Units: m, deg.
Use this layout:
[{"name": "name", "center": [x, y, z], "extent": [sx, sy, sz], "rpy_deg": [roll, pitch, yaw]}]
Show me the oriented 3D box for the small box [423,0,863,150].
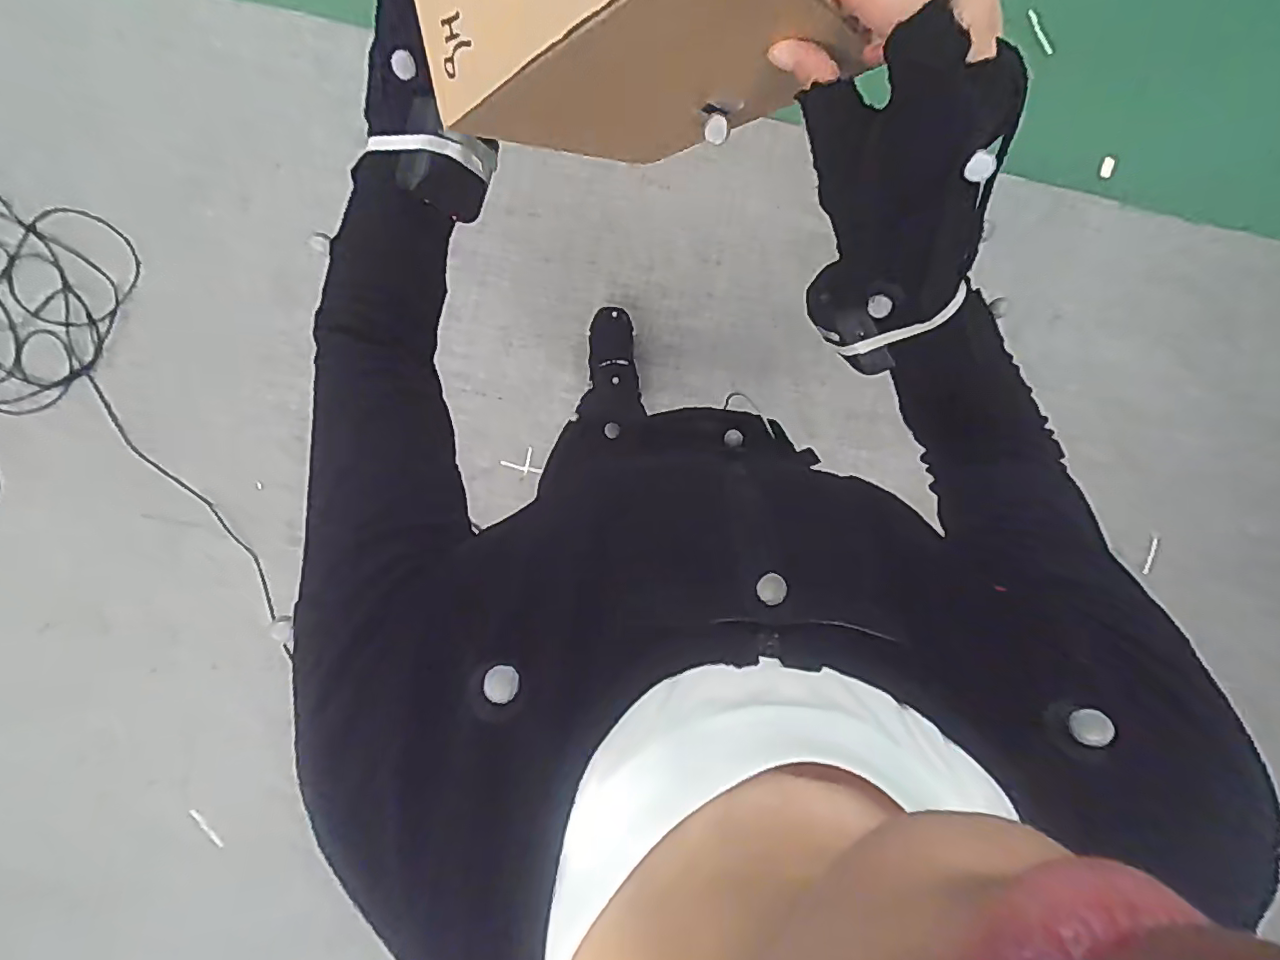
[{"name": "small box", "center": [0.002, -0.289, 0.269], "extent": [0.179, 0.176, 0.168], "rpy_deg": [5, 110, 41]}]
